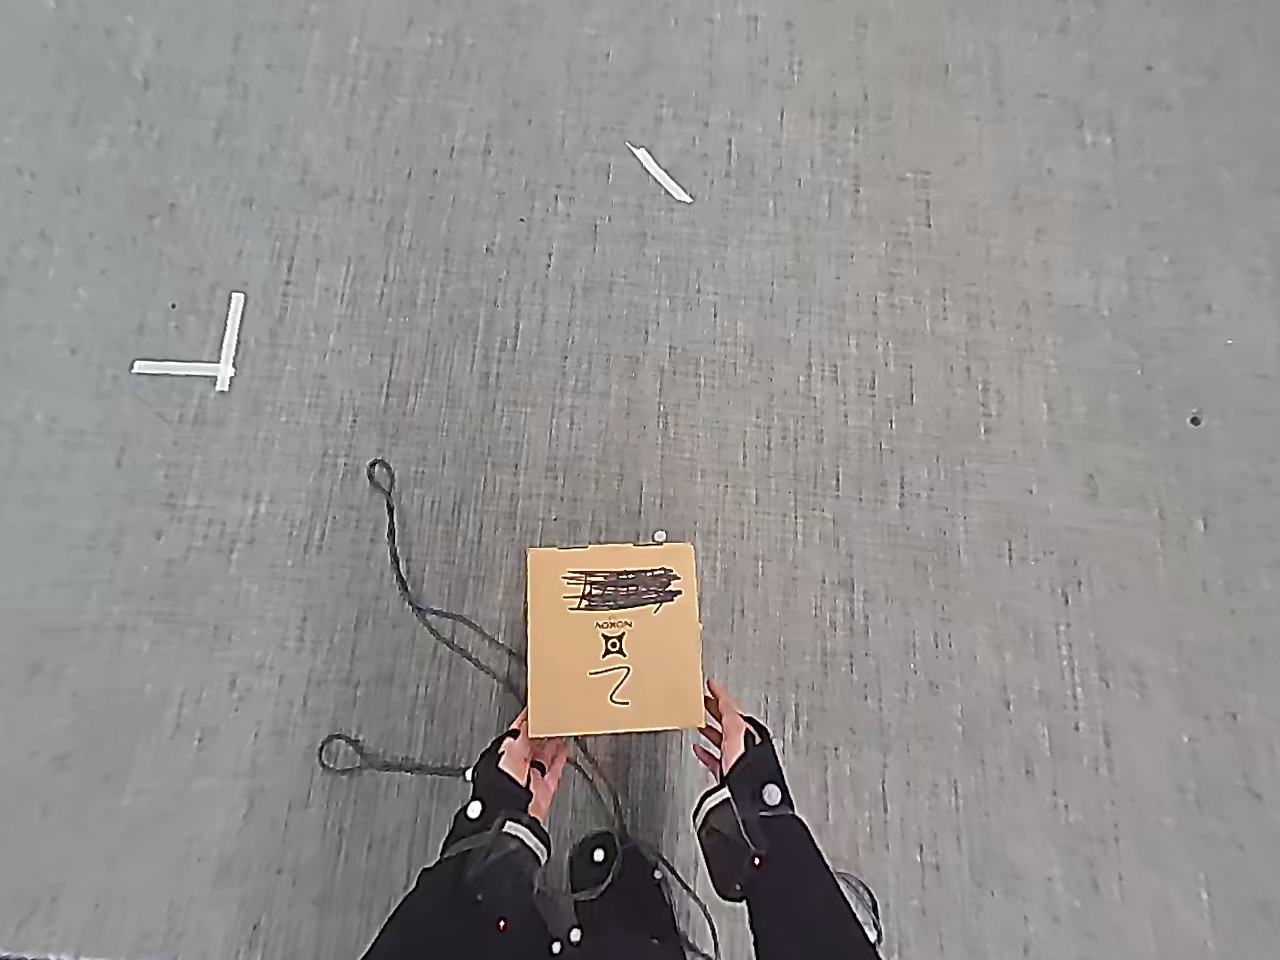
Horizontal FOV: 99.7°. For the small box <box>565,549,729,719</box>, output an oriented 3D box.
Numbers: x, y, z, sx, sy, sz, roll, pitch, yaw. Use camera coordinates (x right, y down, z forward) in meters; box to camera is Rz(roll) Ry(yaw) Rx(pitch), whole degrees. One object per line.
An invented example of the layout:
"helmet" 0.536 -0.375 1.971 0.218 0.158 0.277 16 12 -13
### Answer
"small box" 0.001 0.206 0.710 0.168 0.176 0.179 7 59 -20
